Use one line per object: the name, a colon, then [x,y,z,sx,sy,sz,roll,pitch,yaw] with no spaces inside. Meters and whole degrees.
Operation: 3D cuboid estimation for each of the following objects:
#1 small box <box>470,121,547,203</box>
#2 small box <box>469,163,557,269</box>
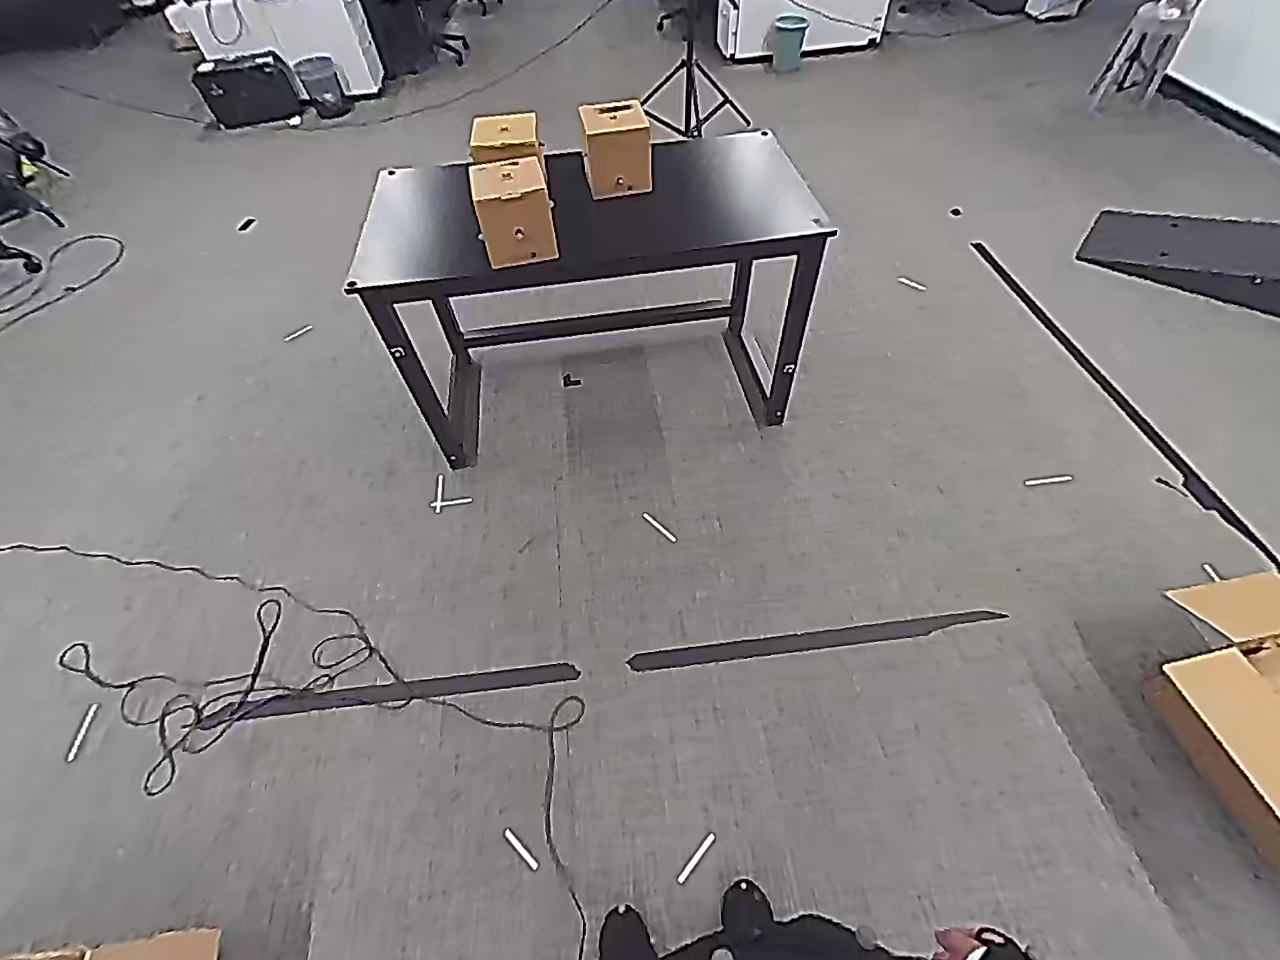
small box: [-0.351,-0.845,1.471,0.168,0.176,0.179,-7,54,-2]
small box: [-0.305,-0.632,1.310,0.168,0.176,0.179,-13,54,-6]
